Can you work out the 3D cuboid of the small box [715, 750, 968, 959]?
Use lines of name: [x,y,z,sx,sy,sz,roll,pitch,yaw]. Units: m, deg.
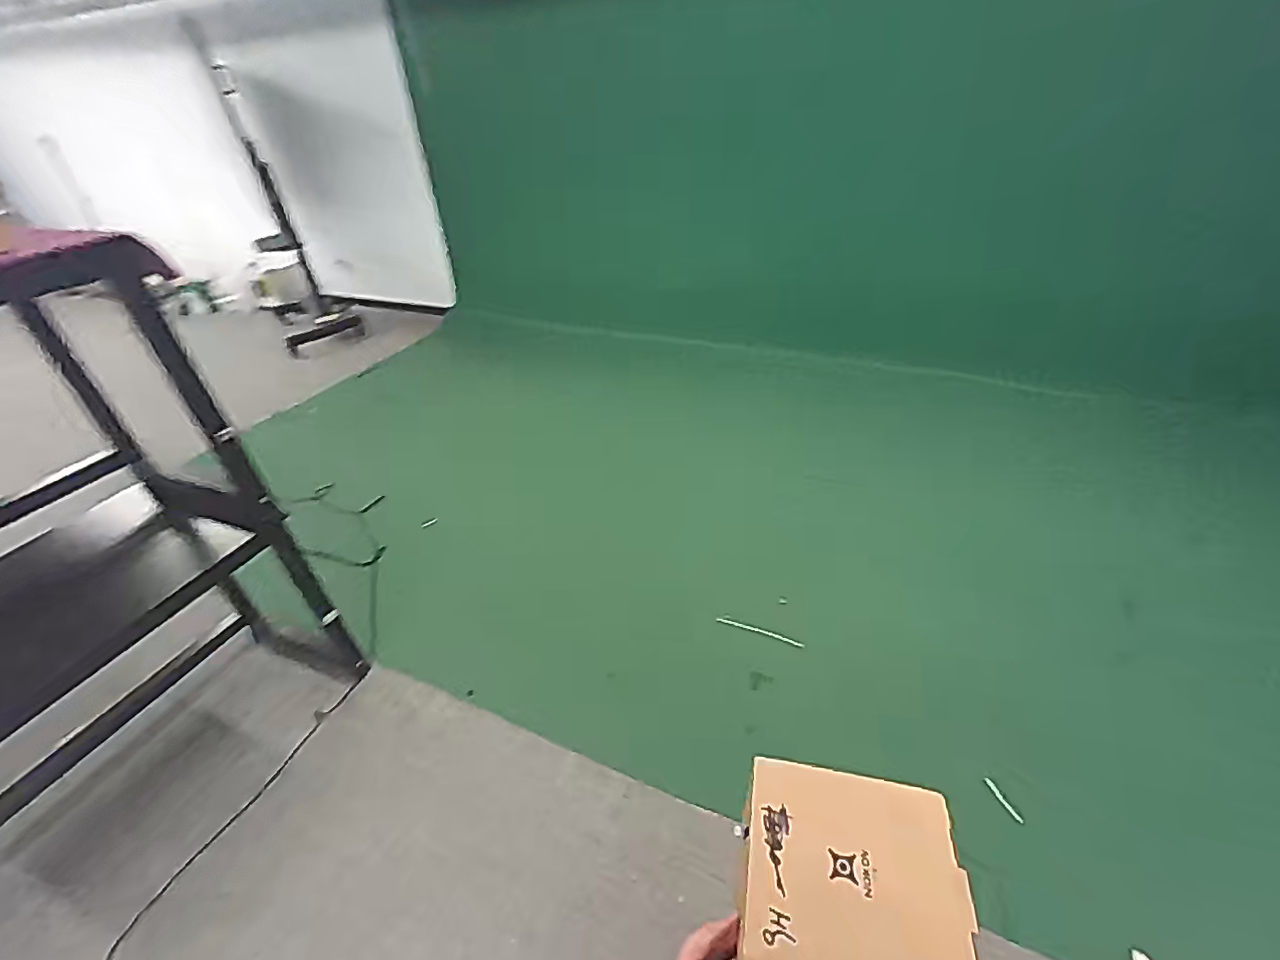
small box: [0.169,0.387,0.495,0.179,0.176,0.168,7,34,11]
